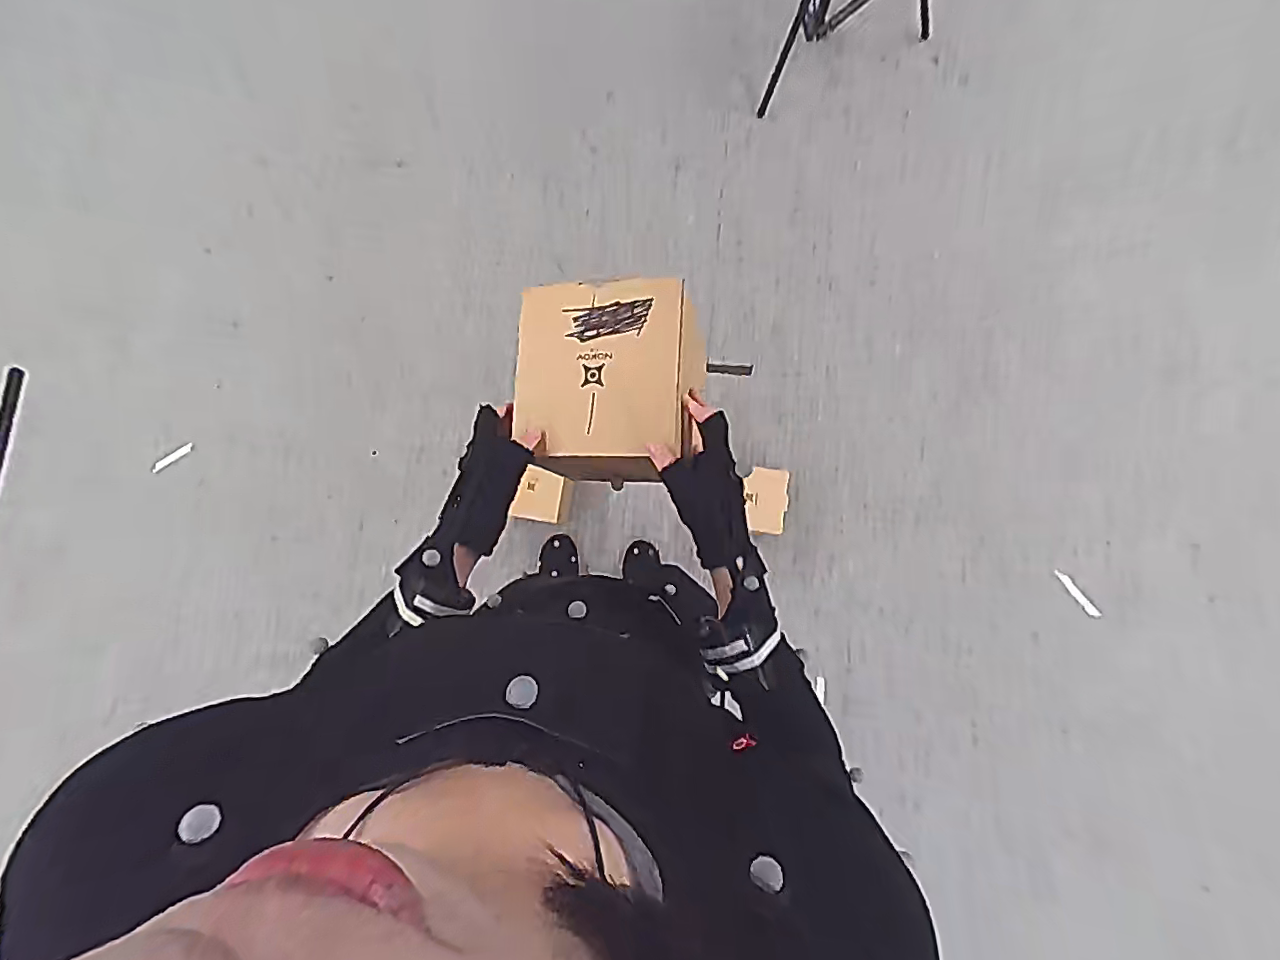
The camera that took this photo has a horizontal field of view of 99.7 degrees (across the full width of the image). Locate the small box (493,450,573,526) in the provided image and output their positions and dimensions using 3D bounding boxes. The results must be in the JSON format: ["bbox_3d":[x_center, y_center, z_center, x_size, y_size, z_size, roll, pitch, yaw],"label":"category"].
[{"bbox_3d":[-0.282,0.027,1.469,0.168,0.176,0.179,8,85,3],"label":"small box"}]

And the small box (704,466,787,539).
[{"bbox_3d":[0.280,0.064,1.459,0.179,0.176,0.168,9,84,0],"label":"small box"}]

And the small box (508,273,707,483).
[{"bbox_3d":[-0.022,-0.096,0.577,0.168,0.176,0.179,1,83,14],"label":"small box"}]
